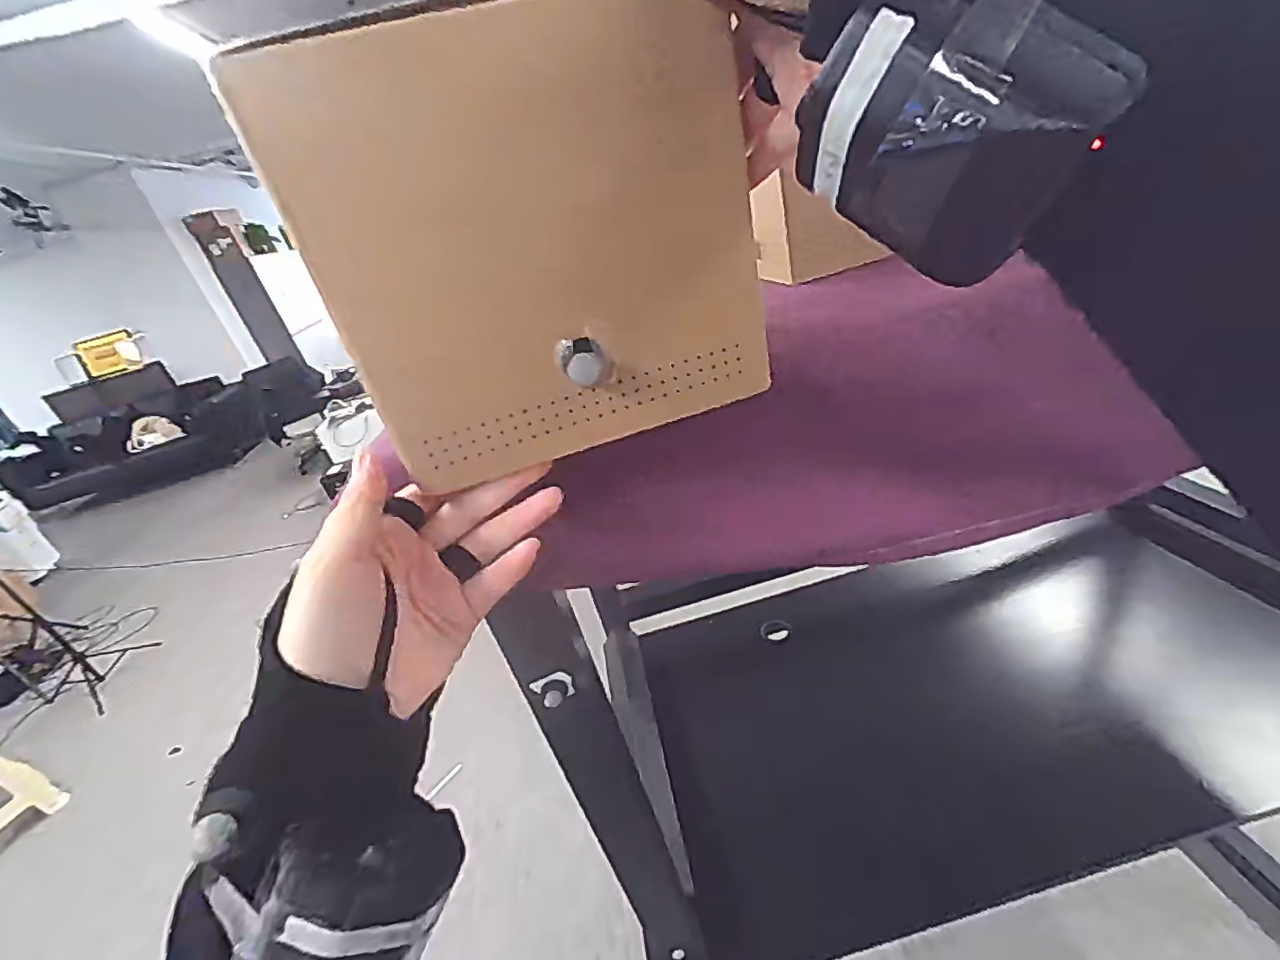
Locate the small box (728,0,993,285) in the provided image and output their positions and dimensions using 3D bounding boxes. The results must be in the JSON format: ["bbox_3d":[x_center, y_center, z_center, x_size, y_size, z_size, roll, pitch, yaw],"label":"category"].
[{"bbox_3d":[0.159,-0.282,0.464,0.179,0.176,0.168,-19,27,-5],"label":"small box"}]

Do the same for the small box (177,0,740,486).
[{"bbox_3d":[-0.059,-0.122,0.276,0.179,0.176,0.168,-18,30,-8],"label":"small box"}]
